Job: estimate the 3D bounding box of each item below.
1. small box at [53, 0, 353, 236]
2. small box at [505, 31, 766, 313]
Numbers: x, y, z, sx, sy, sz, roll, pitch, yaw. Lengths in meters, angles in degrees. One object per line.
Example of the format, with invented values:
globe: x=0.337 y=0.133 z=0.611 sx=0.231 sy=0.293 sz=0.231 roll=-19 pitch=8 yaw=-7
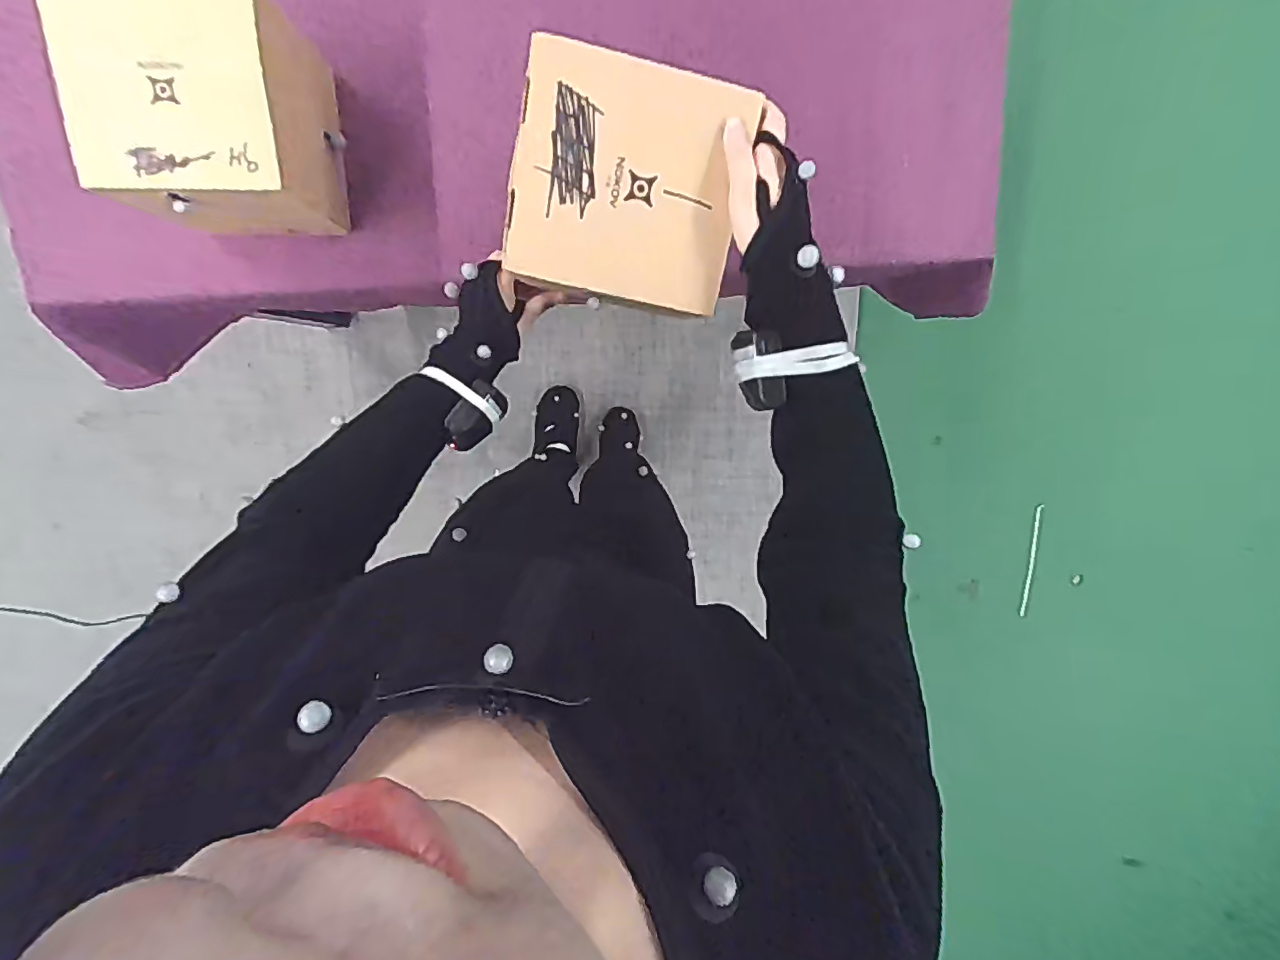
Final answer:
small box: x=-0.412 y=-0.361 z=0.543 sx=0.168 sy=0.176 sz=0.179 roll=-2 pitch=102 yaw=-6
small box: x=-0.011 y=-0.253 z=0.494 sx=0.179 sy=0.176 sz=0.168 roll=11 pitch=105 yaw=-8
